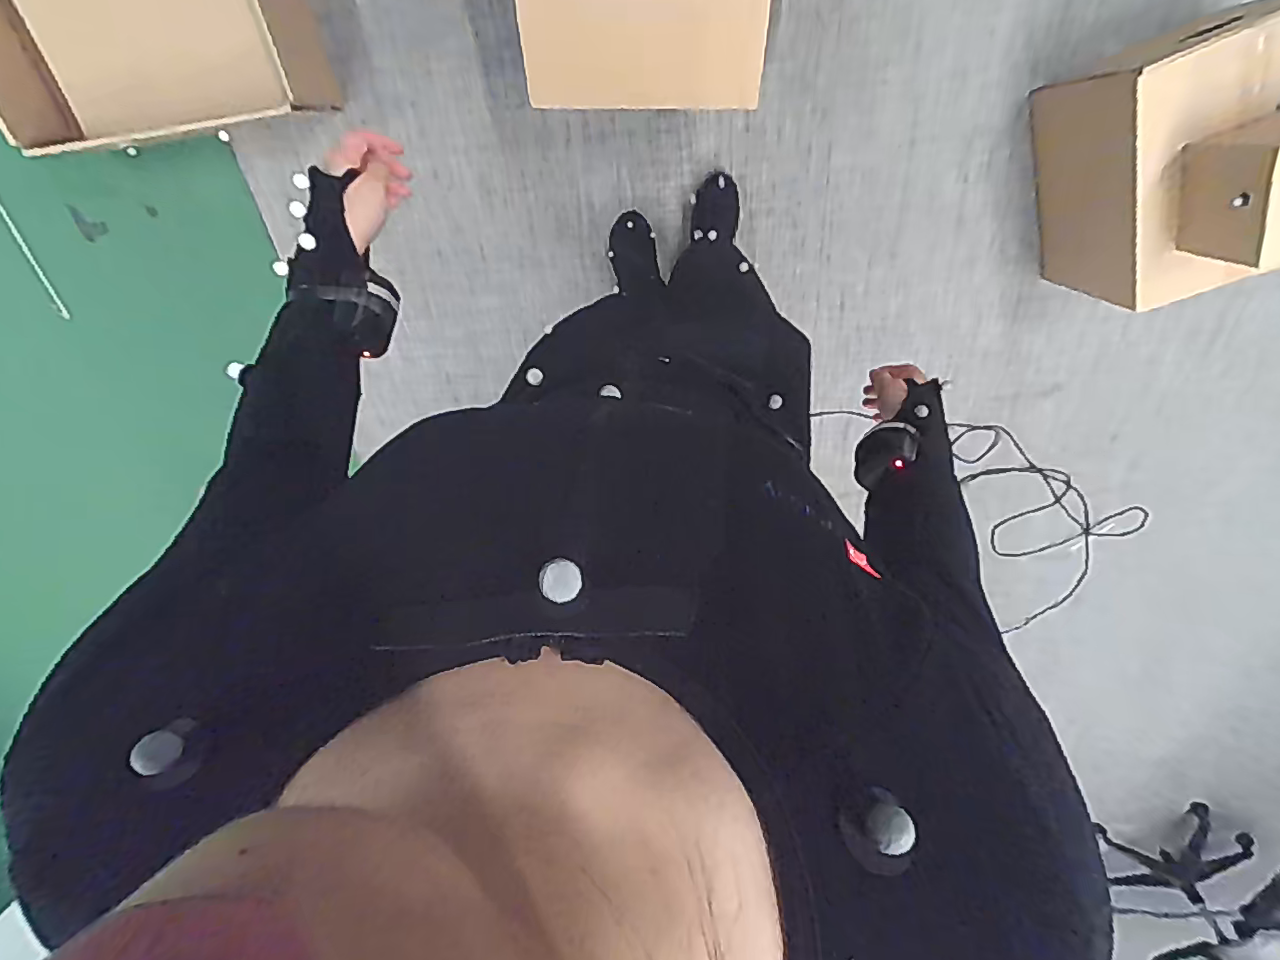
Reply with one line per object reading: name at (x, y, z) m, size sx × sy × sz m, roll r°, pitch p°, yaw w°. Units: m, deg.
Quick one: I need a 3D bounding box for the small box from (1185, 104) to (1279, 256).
small box at (0.983, -0.466, 0.815) m, size 0.168 × 0.176 × 0.179 m, roll -17°, pitch 119°, yaw 16°
